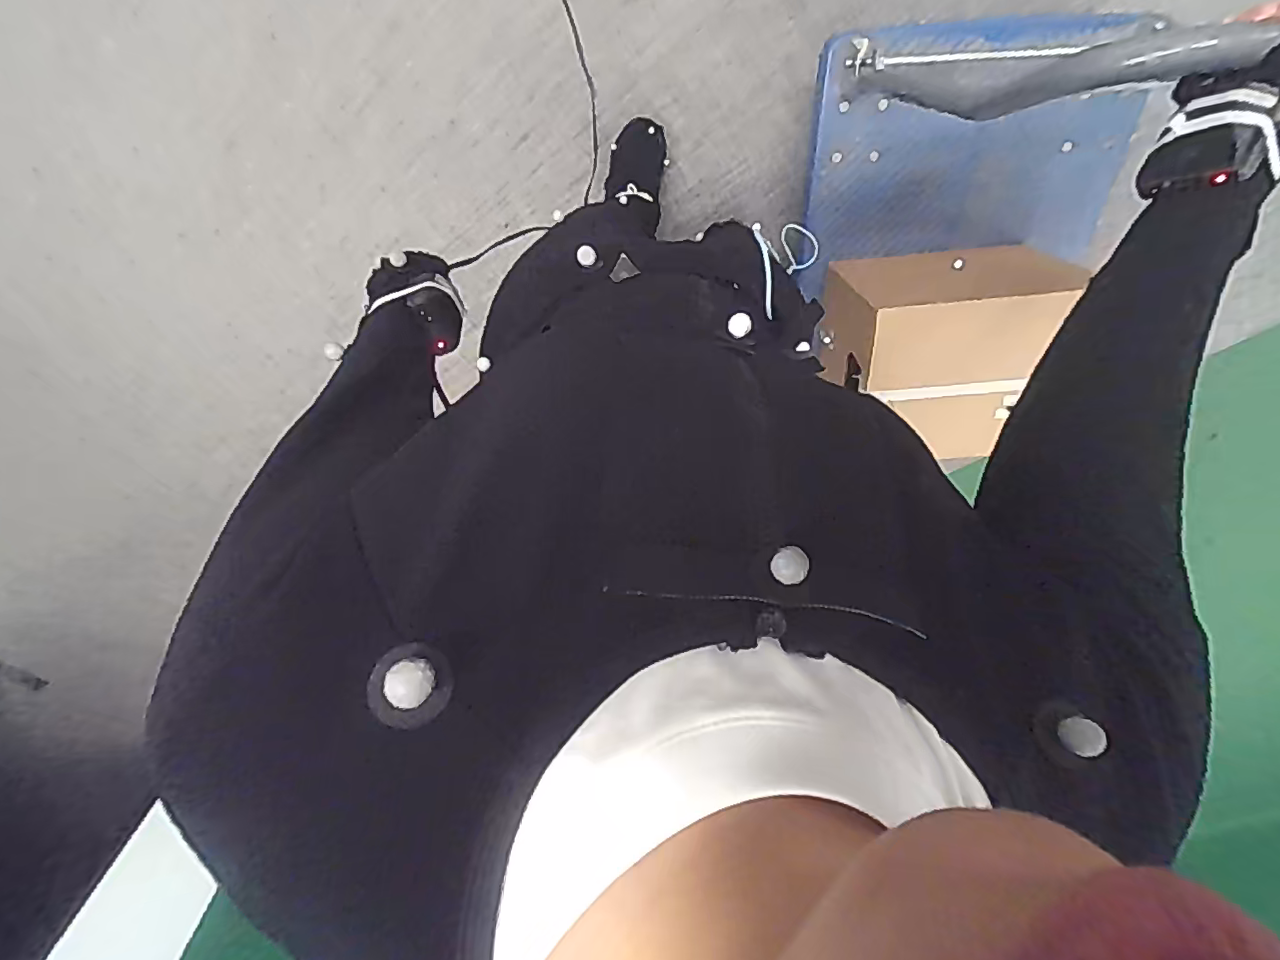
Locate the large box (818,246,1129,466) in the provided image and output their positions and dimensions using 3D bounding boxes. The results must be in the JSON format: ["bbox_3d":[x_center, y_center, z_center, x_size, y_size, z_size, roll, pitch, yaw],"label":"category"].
[{"bbox_3d":[0.600,-0.254,1.078,0.408,0.320,0.320,-5,125,4],"label":"large box"}]
